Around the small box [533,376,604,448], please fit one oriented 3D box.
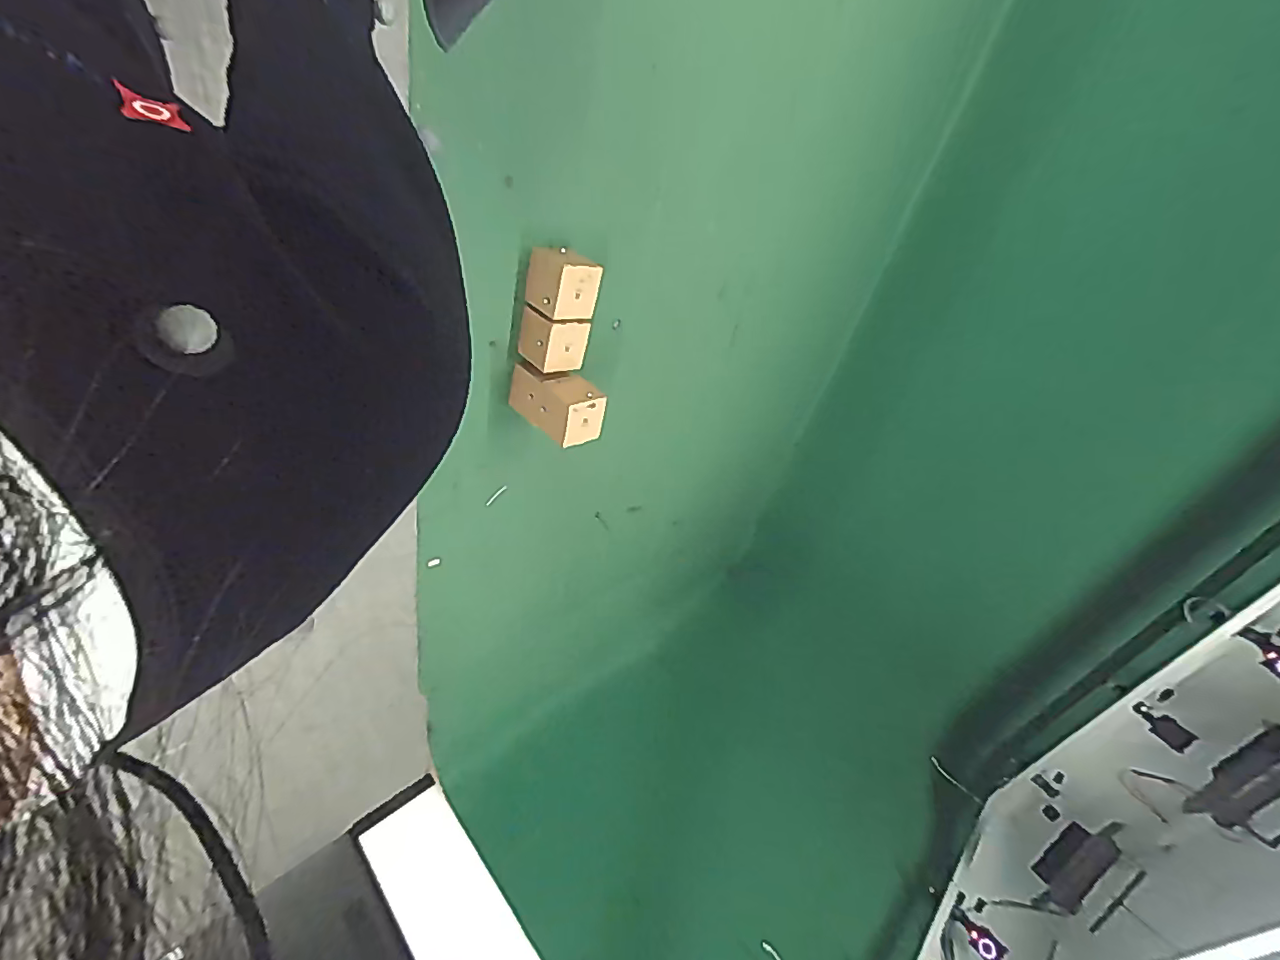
[{"bbox_3d":[-0.257,-0.242,1.901,0.168,0.176,0.179,-21,140,-41],"label":"small box"}]
